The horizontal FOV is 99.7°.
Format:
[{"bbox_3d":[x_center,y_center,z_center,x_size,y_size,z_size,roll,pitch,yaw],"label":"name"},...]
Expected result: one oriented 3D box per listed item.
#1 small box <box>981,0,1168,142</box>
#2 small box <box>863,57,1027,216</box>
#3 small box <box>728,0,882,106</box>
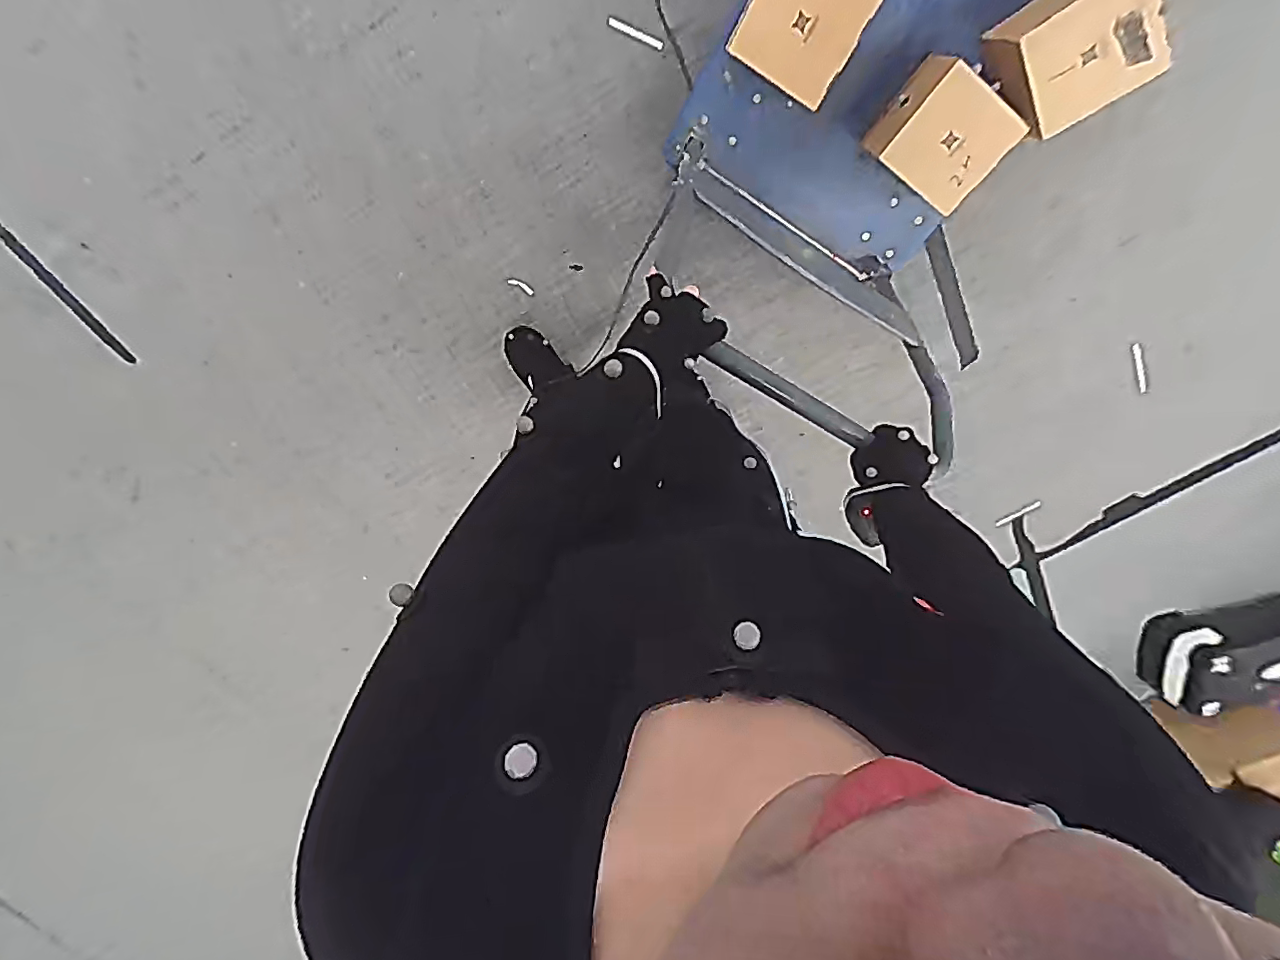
[{"bbox_3d":[0.699,-0.698,0.883,0.179,0.176,0.168,-25,122,26],"label":"small box"},{"bbox_3d":[0.532,-0.617,0.972,0.179,0.176,0.168,30,127,-16],"label":"small box"},{"bbox_3d":[0.259,-0.758,0.894,0.179,0.176,0.168,25,128,-14],"label":"small box"}]
